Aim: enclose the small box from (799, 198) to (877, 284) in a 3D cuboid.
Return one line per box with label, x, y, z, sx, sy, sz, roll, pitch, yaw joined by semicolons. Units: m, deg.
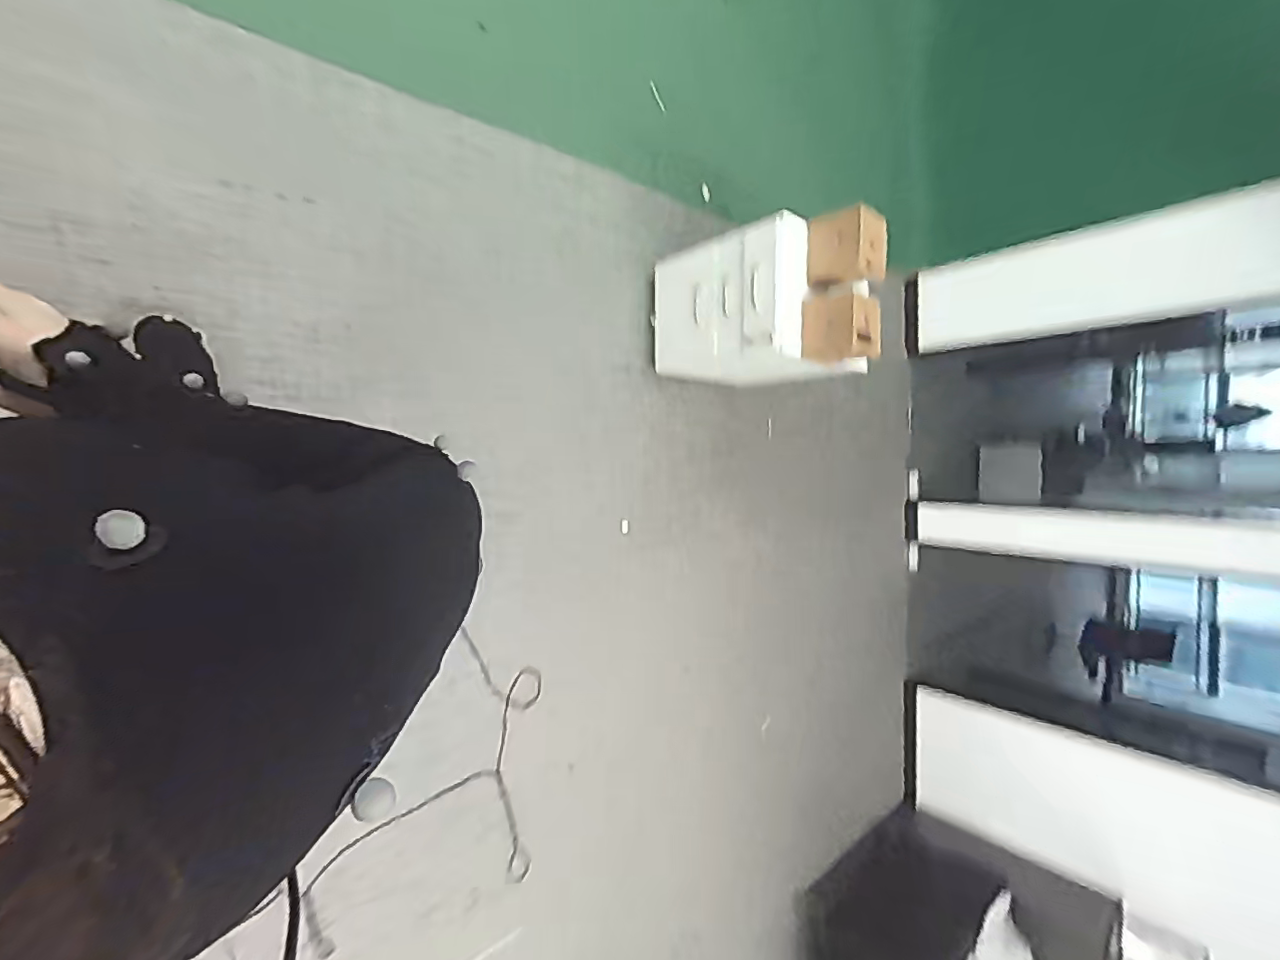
small box;0.596;-0.713;1.634;0.168;0.176;0.179;-4;95;-41
